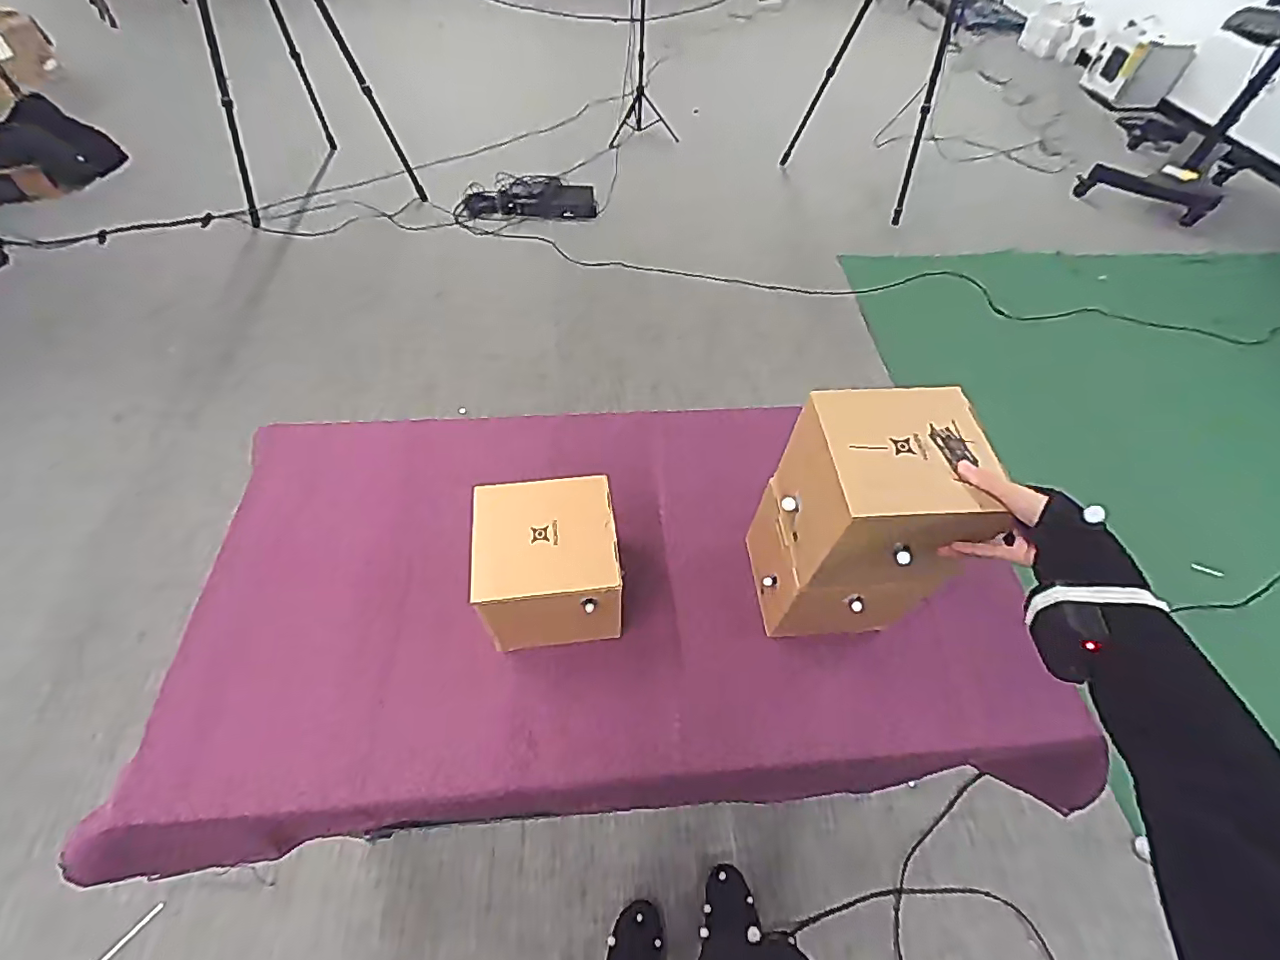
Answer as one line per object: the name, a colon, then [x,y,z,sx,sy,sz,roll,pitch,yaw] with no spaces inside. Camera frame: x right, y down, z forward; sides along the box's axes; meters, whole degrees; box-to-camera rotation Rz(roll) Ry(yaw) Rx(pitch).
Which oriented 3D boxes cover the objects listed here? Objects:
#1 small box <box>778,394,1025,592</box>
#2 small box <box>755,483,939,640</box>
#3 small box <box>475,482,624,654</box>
small box: [0.277,0.019,0.622,0.179,0.176,0.168,-3,55,-3]
small box: [0.267,0.115,0.754,0.179,0.176,0.168,-2,54,-4]
small box: [-0.116,0.124,0.735,0.179,0.176,0.168,-5,54,-7]
